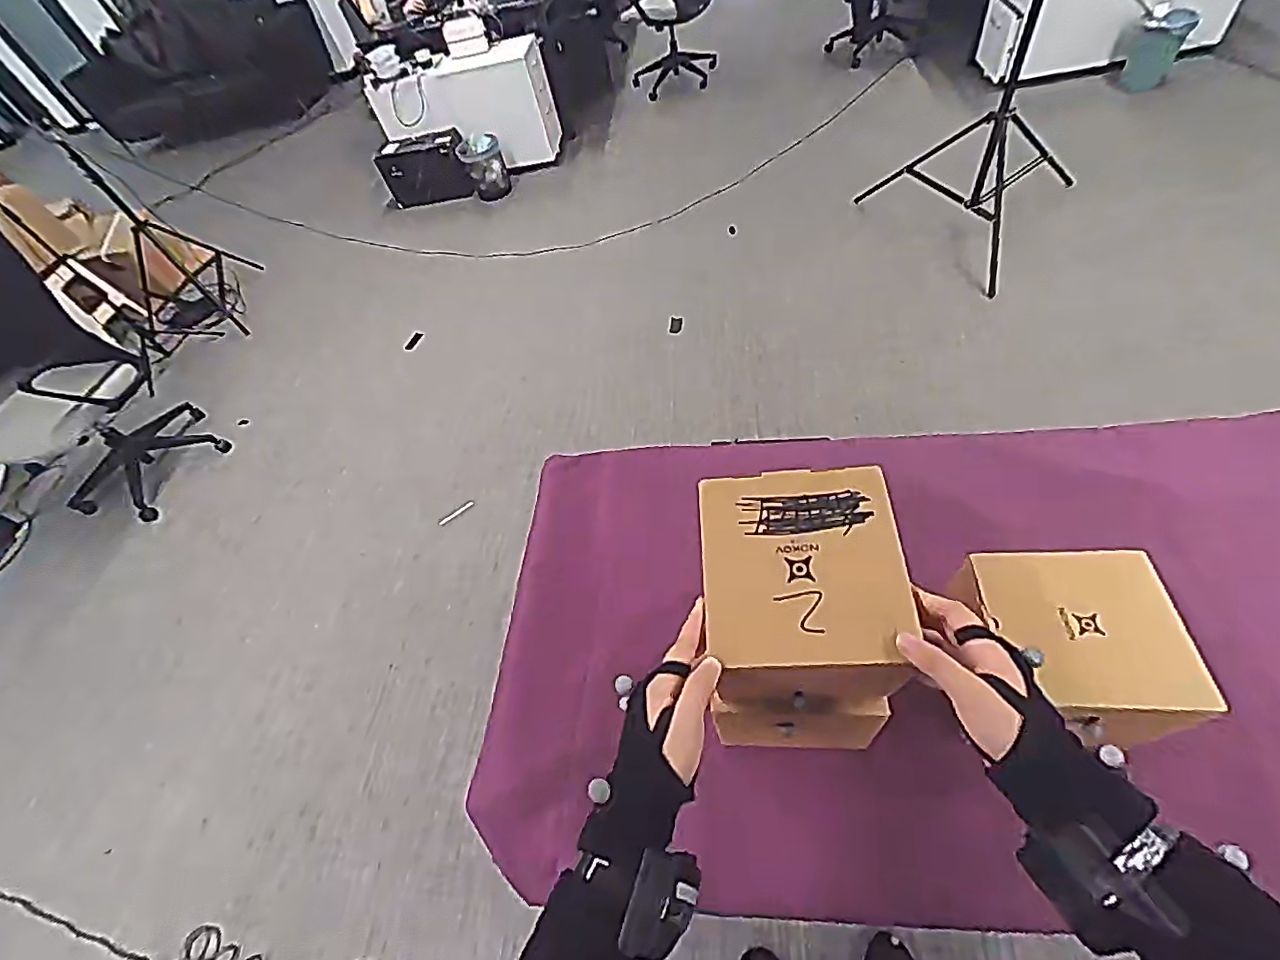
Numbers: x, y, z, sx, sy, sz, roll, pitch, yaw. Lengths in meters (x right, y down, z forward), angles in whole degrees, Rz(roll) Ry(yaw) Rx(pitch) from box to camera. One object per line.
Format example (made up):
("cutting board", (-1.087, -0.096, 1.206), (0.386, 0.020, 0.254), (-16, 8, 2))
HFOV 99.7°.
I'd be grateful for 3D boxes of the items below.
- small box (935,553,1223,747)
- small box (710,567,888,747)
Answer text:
("small box", (0.461, 0.194, 0.609), (0.179, 0.176, 0.168), (-3, 53, 12))
("small box", (0.181, 0.217, 0.655), (0.179, 0.176, 0.168), (-3, 54, 10))
